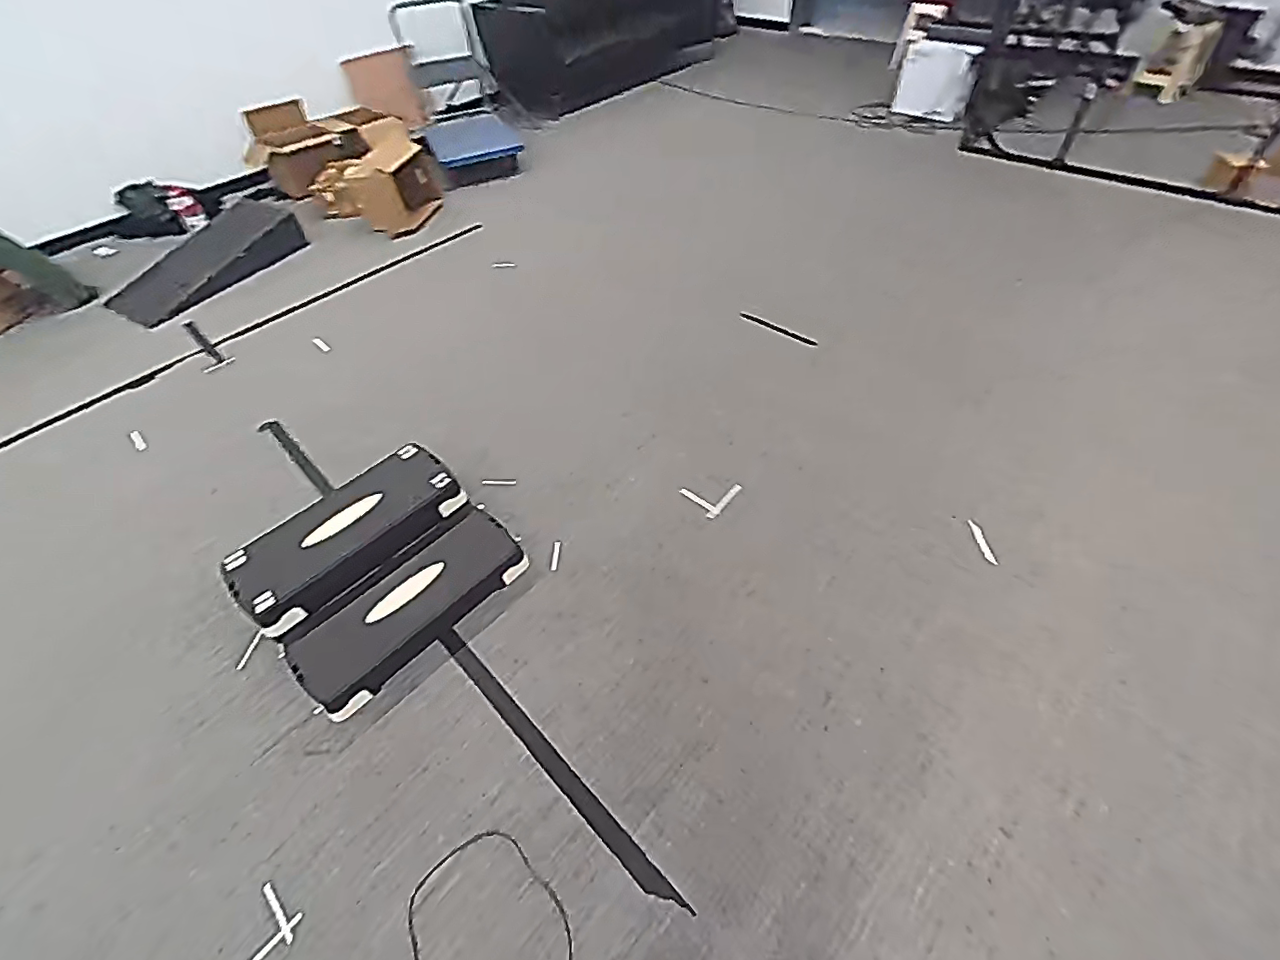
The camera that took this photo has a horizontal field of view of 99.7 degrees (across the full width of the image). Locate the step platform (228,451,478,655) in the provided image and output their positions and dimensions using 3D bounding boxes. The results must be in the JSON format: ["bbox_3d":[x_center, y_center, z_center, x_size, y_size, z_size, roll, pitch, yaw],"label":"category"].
[{"bbox_3d":[-0.860,0.199,1.674,0.286,0.204,0.684,34,59,28],"label":"step platform"}]
